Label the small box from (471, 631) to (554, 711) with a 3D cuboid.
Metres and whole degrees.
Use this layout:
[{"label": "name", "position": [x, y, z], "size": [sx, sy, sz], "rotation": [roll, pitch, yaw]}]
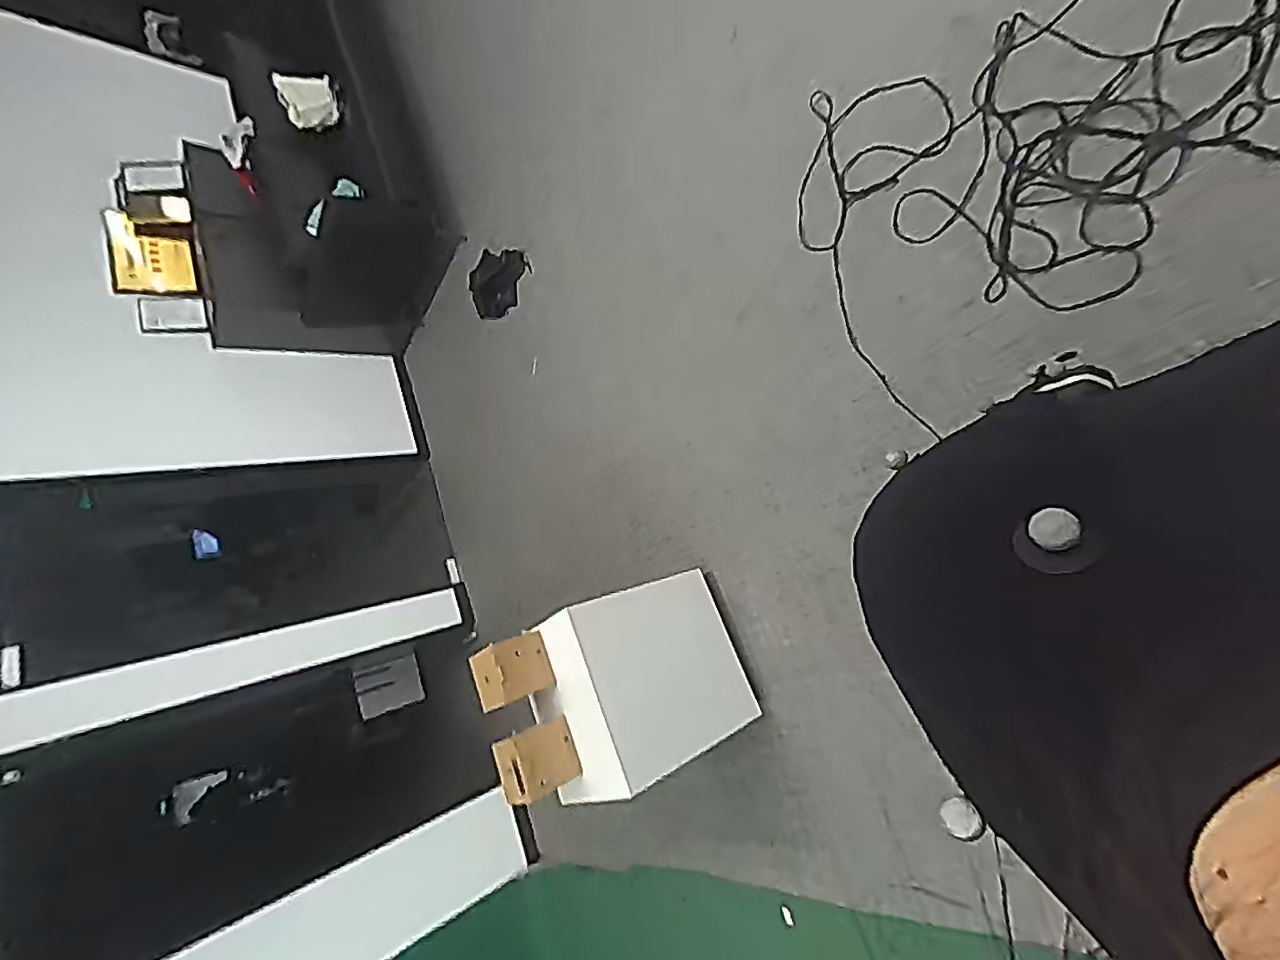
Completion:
[{"label": "small box", "position": [-0.376, 0.566, 1.614], "size": [0.179, 0.176, 0.168], "rotation": [-39, 66, 45]}]
